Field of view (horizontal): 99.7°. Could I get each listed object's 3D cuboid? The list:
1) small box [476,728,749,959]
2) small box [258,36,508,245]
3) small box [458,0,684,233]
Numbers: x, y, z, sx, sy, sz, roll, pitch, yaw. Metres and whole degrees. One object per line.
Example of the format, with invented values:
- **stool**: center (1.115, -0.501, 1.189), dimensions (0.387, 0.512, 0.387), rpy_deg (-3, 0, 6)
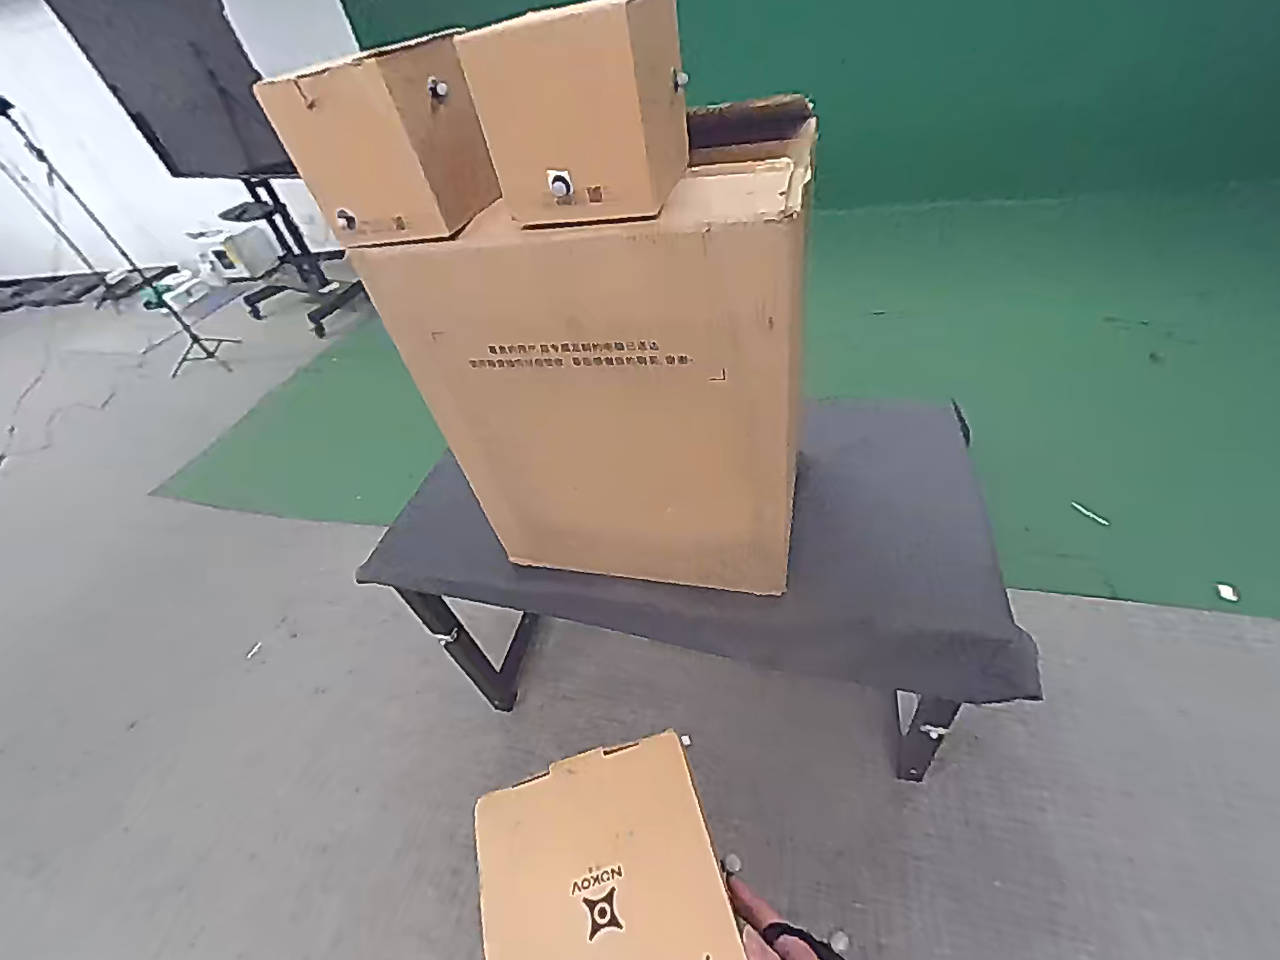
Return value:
- **small box**: center (-0.016, 0.331, 0.432), dimensions (0.168, 0.176, 0.179), rpy_deg (-19, 50, -2)
- **small box**: center (-0.282, -0.391, 0.642), dimensions (0.168, 0.176, 0.179), rpy_deg (4, 45, 20)
- **small box**: center (-0.053, -0.380, 0.570), dimensions (0.168, 0.176, 0.179), rpy_deg (3, 46, 18)
